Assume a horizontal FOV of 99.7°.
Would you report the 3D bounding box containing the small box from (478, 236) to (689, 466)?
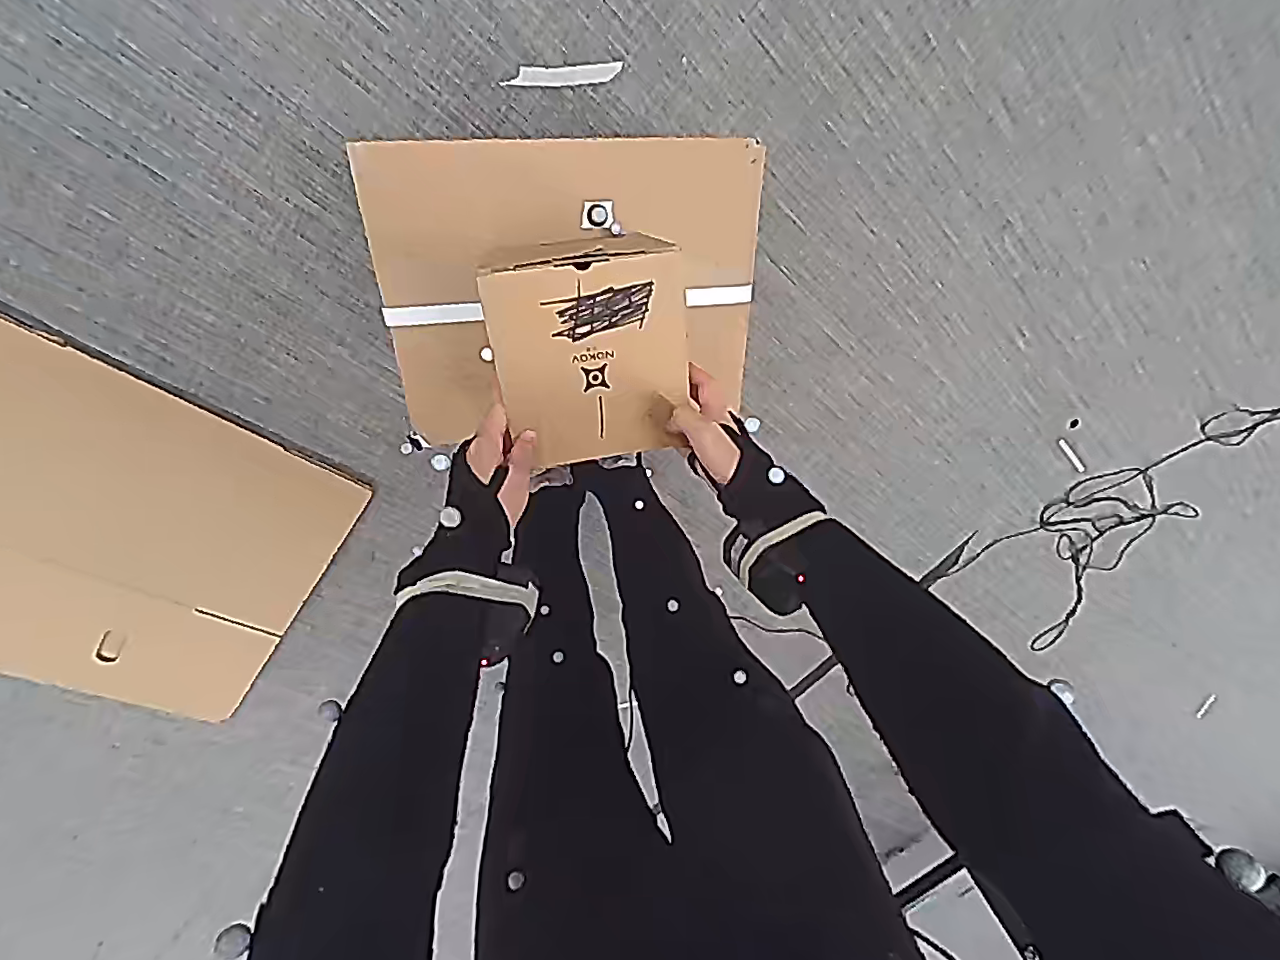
[{"bbox_3d":[-0.056,-0.138,0.531,0.168,0.176,0.179,-10,120,-7],"label":"small box"}]
